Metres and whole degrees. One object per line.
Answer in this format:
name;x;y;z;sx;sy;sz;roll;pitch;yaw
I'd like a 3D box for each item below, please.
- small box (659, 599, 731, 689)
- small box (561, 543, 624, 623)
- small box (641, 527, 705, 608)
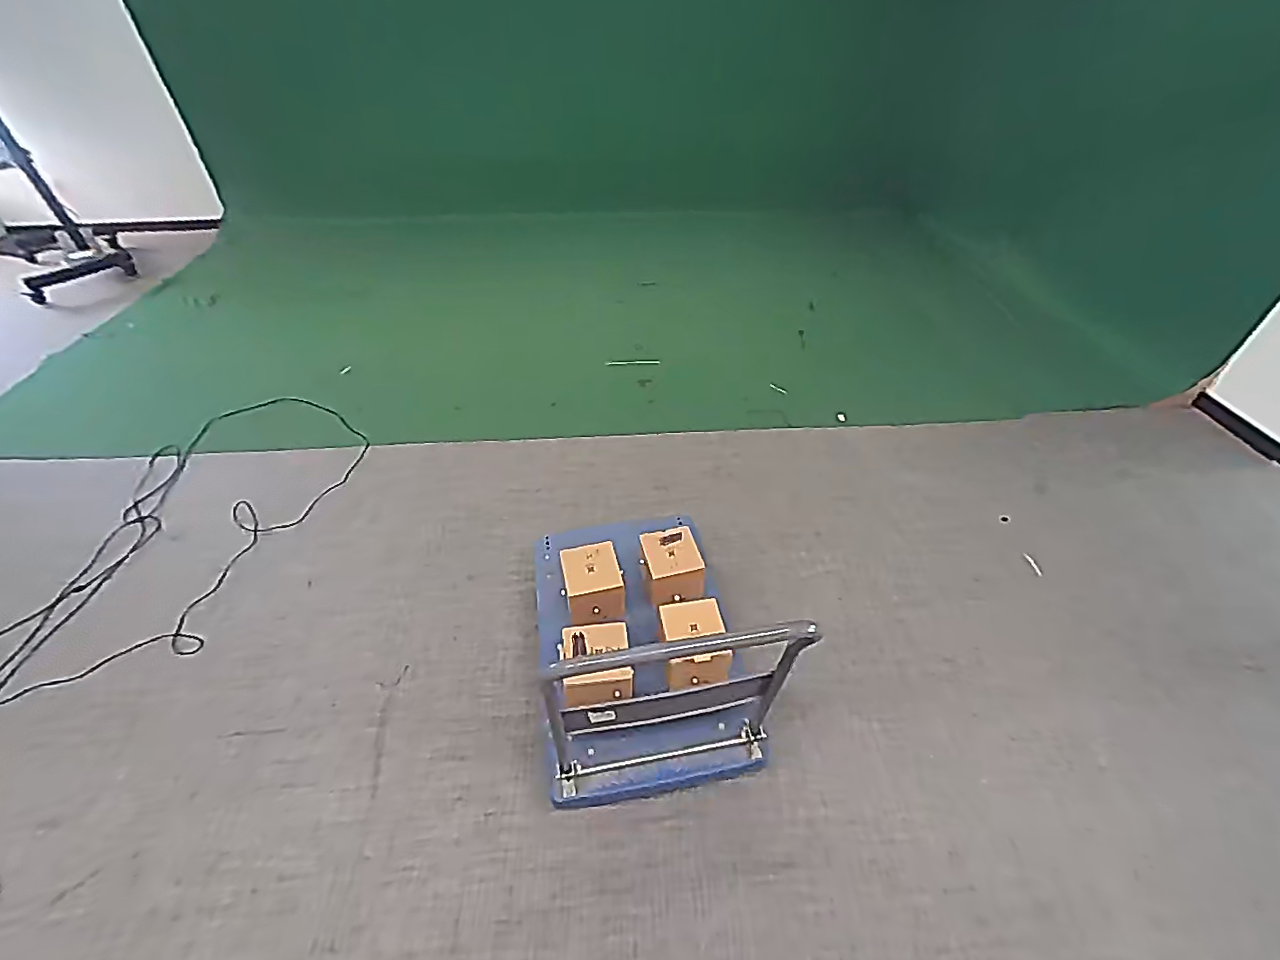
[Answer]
small box;0.149;0.467;1.540;0.168;0.176;0.179;-7;45;-7
small box;-0.146;0.326;1.685;0.168;0.176;0.179;-9;45;-11
small box;0.098;0.281;1.730;0.168;0.176;0.179;-11;46;-9
